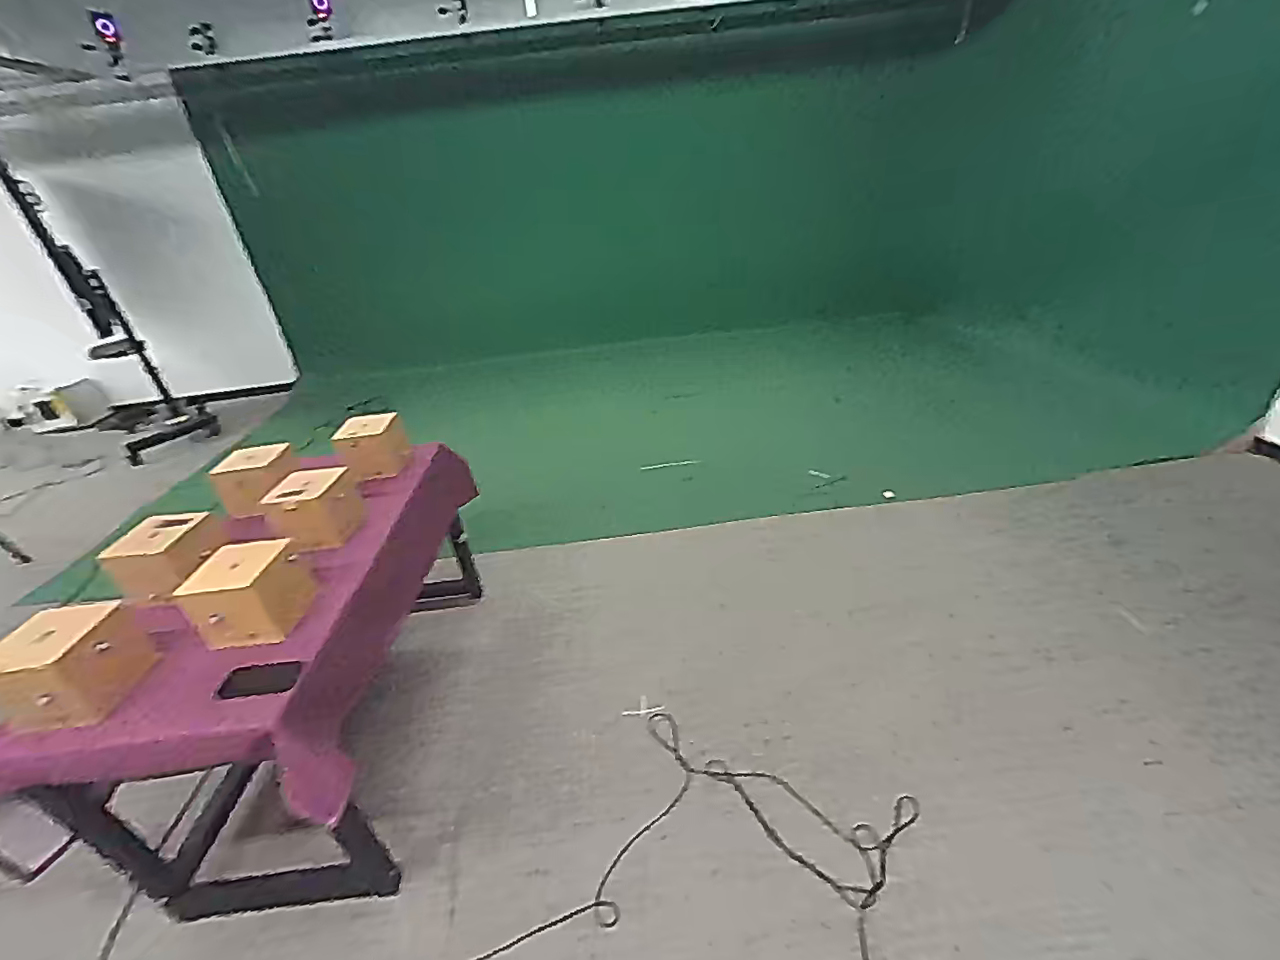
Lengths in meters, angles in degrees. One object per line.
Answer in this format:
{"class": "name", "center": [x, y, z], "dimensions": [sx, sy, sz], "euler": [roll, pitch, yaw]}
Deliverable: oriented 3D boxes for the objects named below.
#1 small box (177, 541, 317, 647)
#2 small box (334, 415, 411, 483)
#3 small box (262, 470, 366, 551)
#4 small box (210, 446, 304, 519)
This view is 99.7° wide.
{"class": "small box", "center": [-0.884, 0.266, 1.240], "dimensions": [0.168, 0.176, 0.179], "euler": [-7, 29, 2]}
{"class": "small box", "center": [-0.920, -0.108, 1.881], "dimensions": [0.168, 0.176, 0.179], "euler": [-8, 30, 0]}
{"class": "small box", "center": [-0.919, 0.091, 1.545], "dimensions": [0.168, 0.176, 0.179], "euler": [-5, 29, 3]}
{"class": "small box", "center": [-1.215, 0.010, 1.744], "dimensions": [0.179, 0.176, 0.168], "euler": [-8, 31, -2]}
